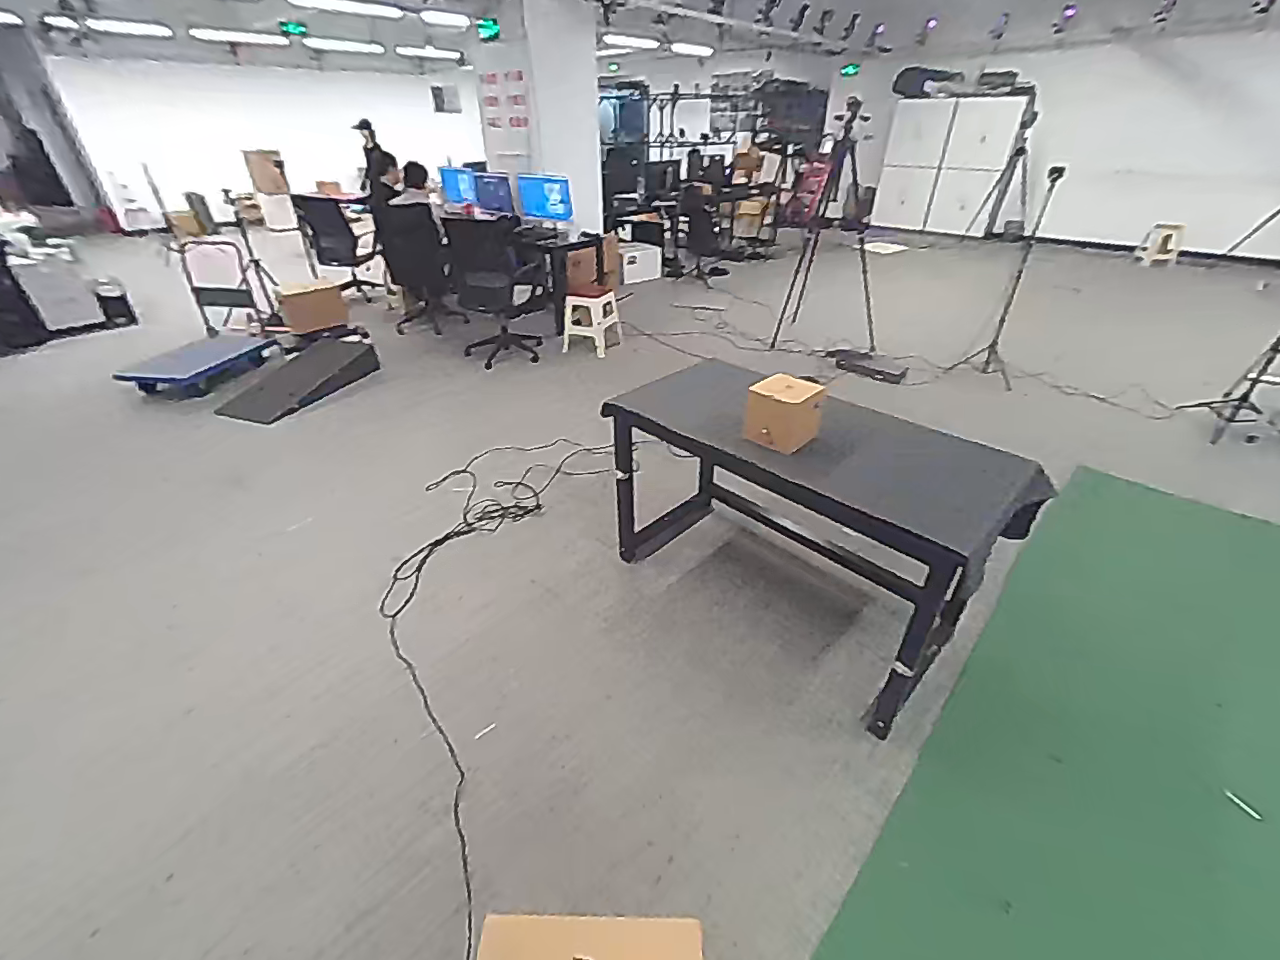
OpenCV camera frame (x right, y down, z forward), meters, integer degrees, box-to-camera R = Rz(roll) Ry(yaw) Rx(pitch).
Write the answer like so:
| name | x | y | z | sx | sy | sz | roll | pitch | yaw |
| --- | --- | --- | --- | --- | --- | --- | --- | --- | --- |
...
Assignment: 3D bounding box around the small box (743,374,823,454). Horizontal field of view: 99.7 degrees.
| name | x | y | z | sx | sy | sz | roll | pitch | yaw |
| --- | --- | --- | --- | --- | --- | --- | --- | --- | --- |
| small box | 0.431 | -0.203 | 1.653 | 0.168 | 0.176 | 0.179 | 27 | 42 | 36 |
